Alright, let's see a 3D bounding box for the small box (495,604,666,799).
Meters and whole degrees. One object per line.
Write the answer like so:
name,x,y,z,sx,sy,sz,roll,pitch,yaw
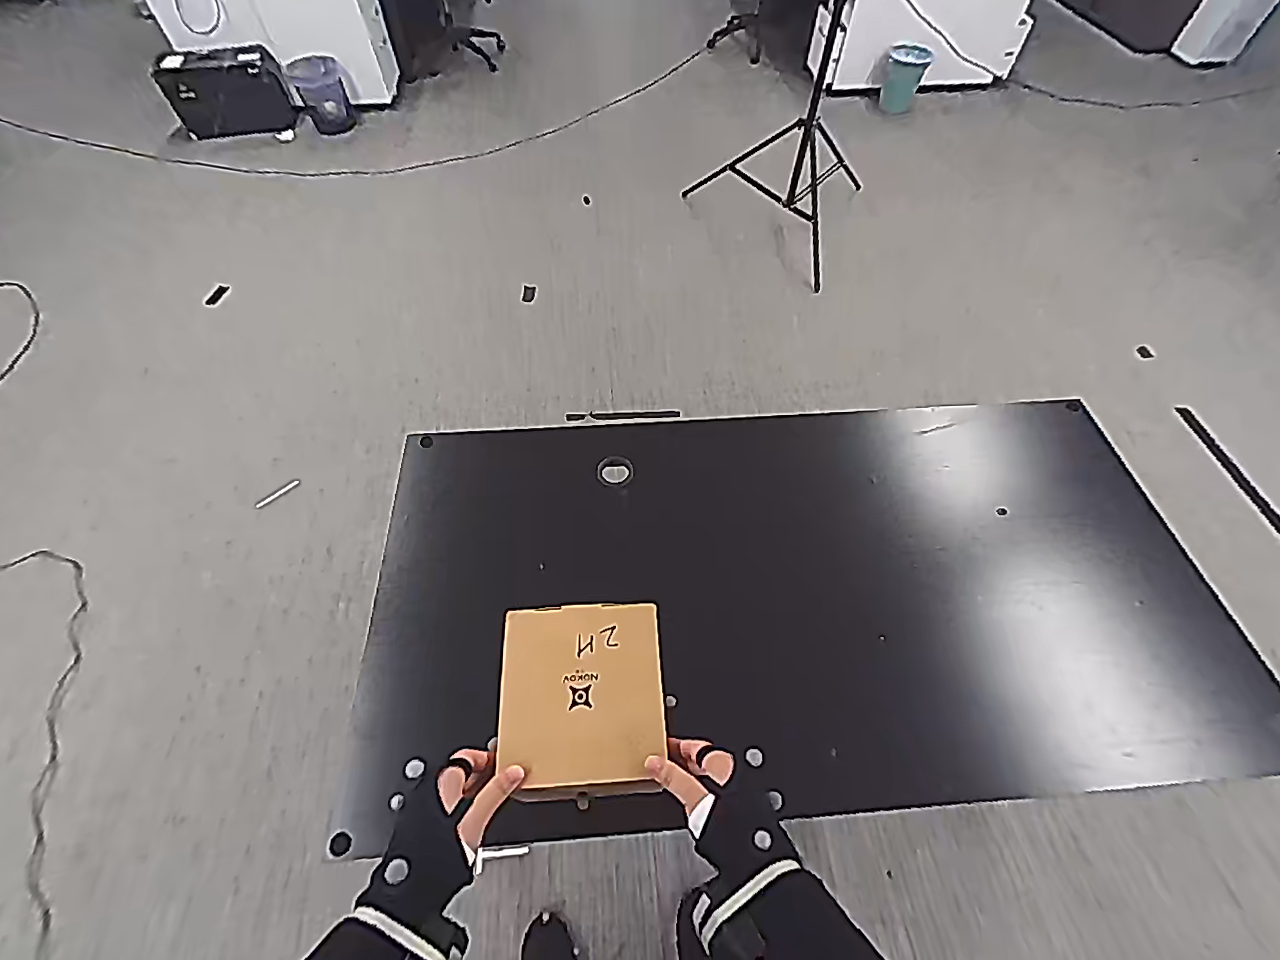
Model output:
small box,-0.059,0.259,0.617,0.168,0.176,0.179,-3,56,-2
